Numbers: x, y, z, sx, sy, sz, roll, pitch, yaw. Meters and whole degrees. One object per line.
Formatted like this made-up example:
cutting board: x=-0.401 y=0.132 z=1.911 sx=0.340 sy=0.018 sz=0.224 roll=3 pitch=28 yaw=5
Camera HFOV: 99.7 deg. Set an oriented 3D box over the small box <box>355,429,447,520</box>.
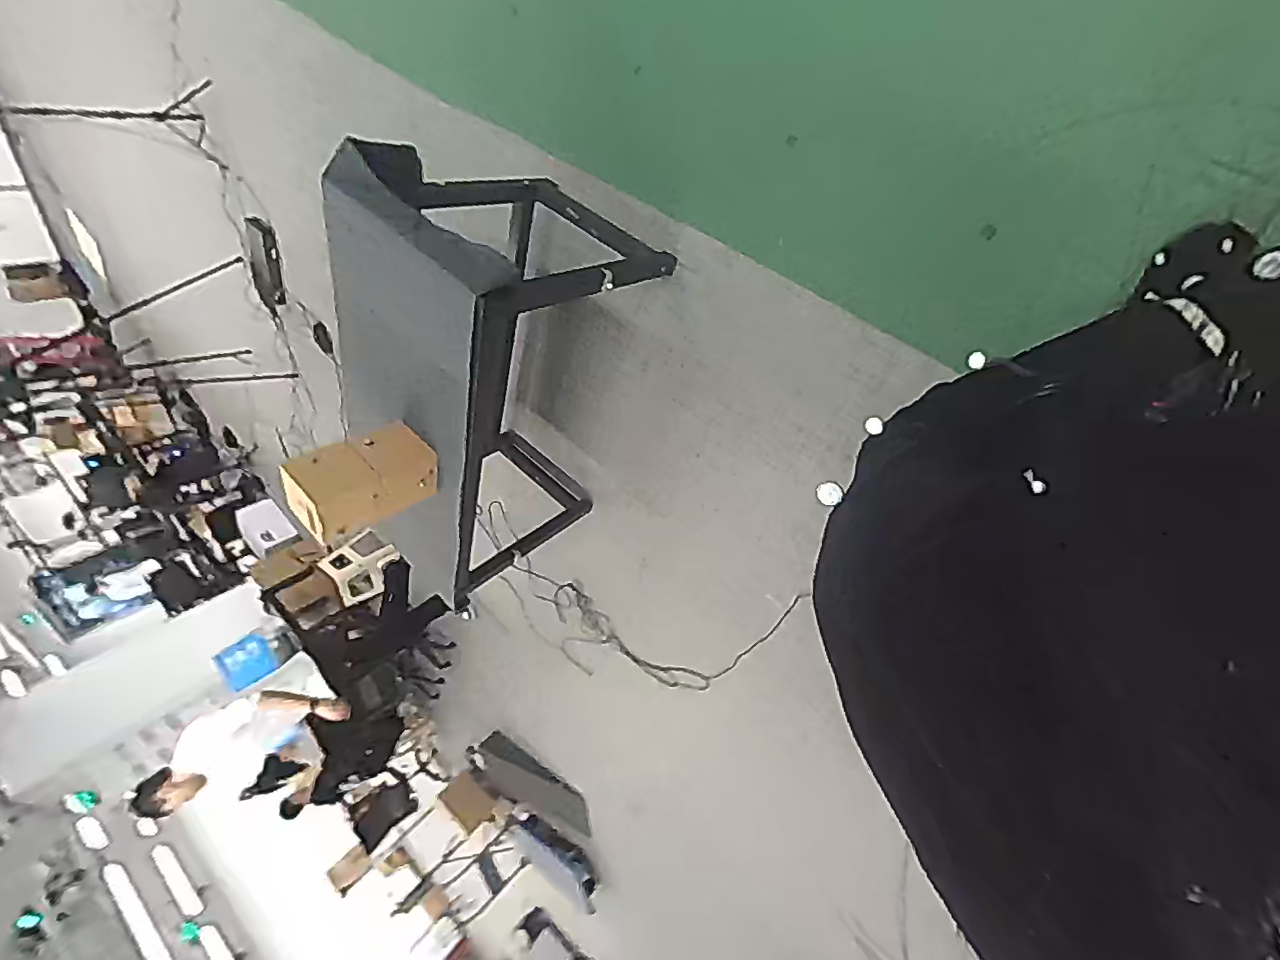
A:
small box: x=-0.675 y=-0.026 z=1.535 sx=0.179 sy=0.176 sz=0.168 roll=38 pitch=135 yaw=20
